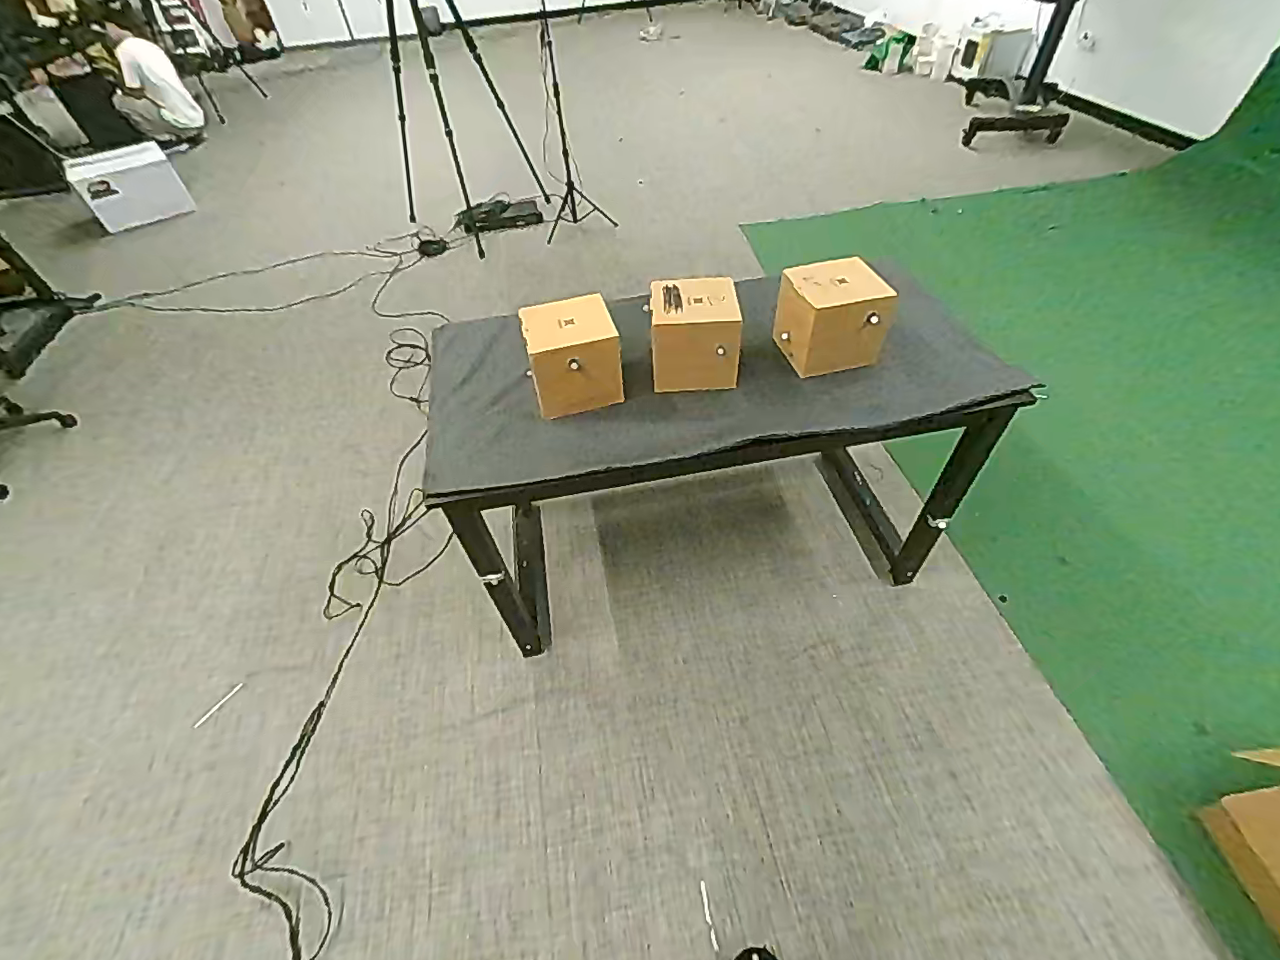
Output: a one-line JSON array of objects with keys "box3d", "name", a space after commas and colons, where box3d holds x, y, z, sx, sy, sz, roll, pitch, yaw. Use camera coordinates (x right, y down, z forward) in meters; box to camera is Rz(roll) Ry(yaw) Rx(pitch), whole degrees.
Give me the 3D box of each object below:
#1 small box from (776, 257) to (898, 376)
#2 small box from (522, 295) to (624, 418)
[{"box3d": [0.410, -0.347, 1.157, 0.179, 0.176, 0.168, -12, 49, -5], "name": "small box"}, {"box3d": [-0.134, -0.255, 1.125, 0.179, 0.176, 0.168, -15, 50, -7], "name": "small box"}]
